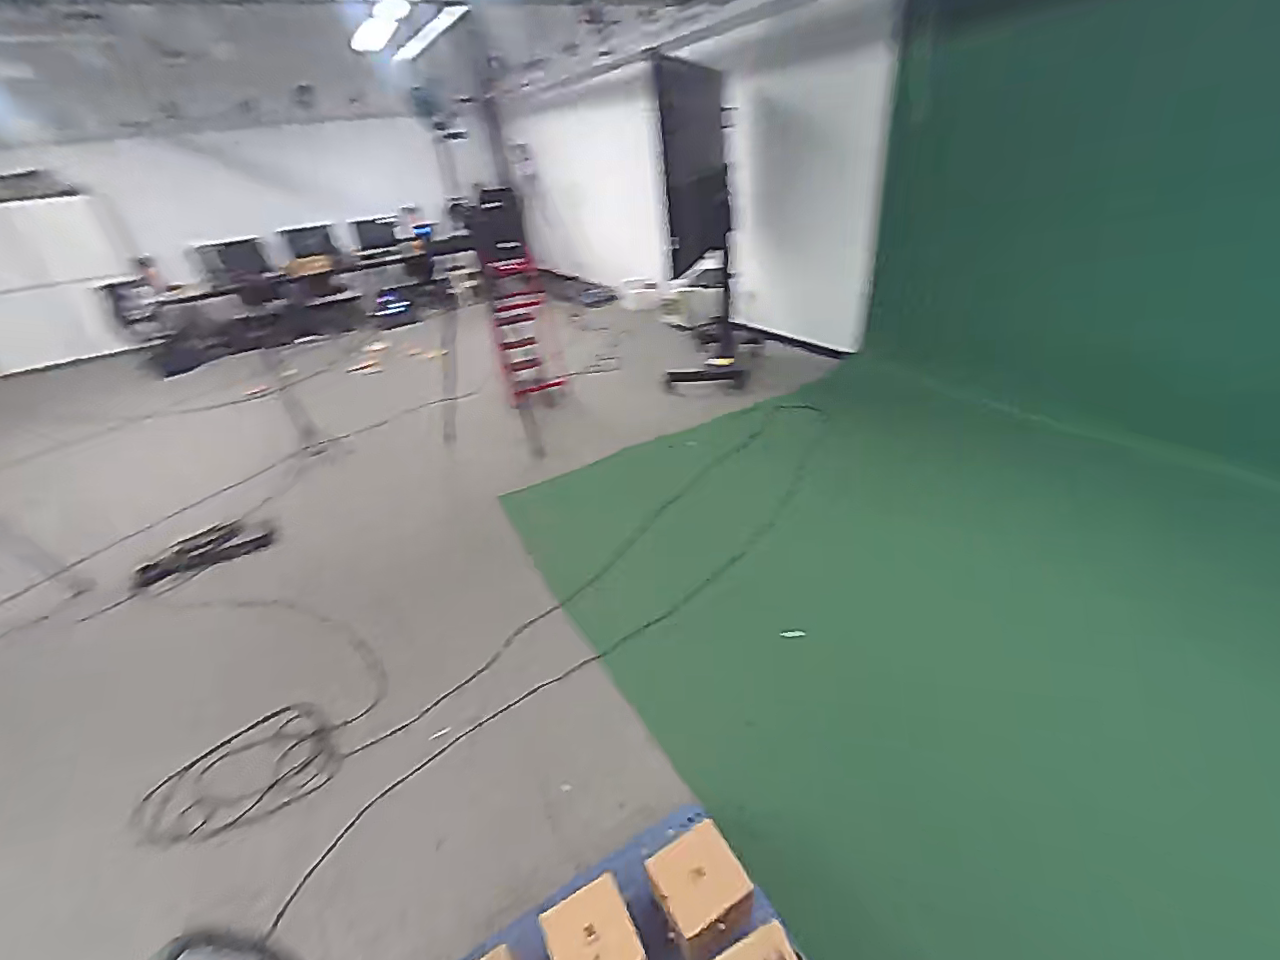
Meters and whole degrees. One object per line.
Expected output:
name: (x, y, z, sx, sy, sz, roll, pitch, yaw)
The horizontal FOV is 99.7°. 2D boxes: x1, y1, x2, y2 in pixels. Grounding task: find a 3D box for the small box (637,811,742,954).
small box: (0.115, 0.901, 1.211, 0.179, 0.176, 0.168, -21, 36, -22)
